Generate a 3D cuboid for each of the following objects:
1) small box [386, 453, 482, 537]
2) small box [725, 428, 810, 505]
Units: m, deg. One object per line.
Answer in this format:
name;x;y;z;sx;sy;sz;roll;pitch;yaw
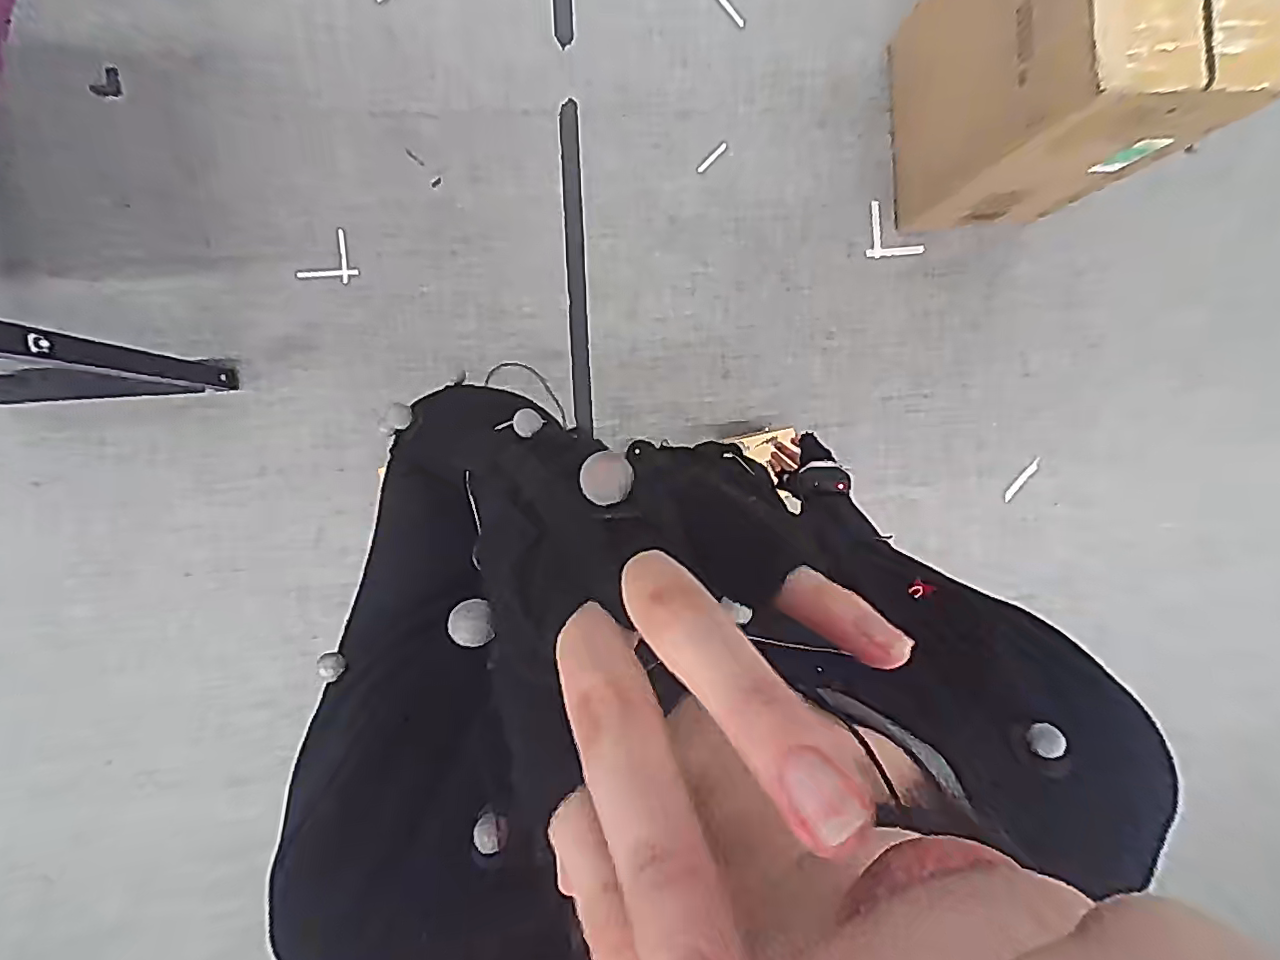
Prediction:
small box;-0.522;0.032;1.396;0.168;0.176;0.179;-15;92;-5
small box;0.340;-0.042;1.467;0.168;0.176;0.179;-13;95;-4
